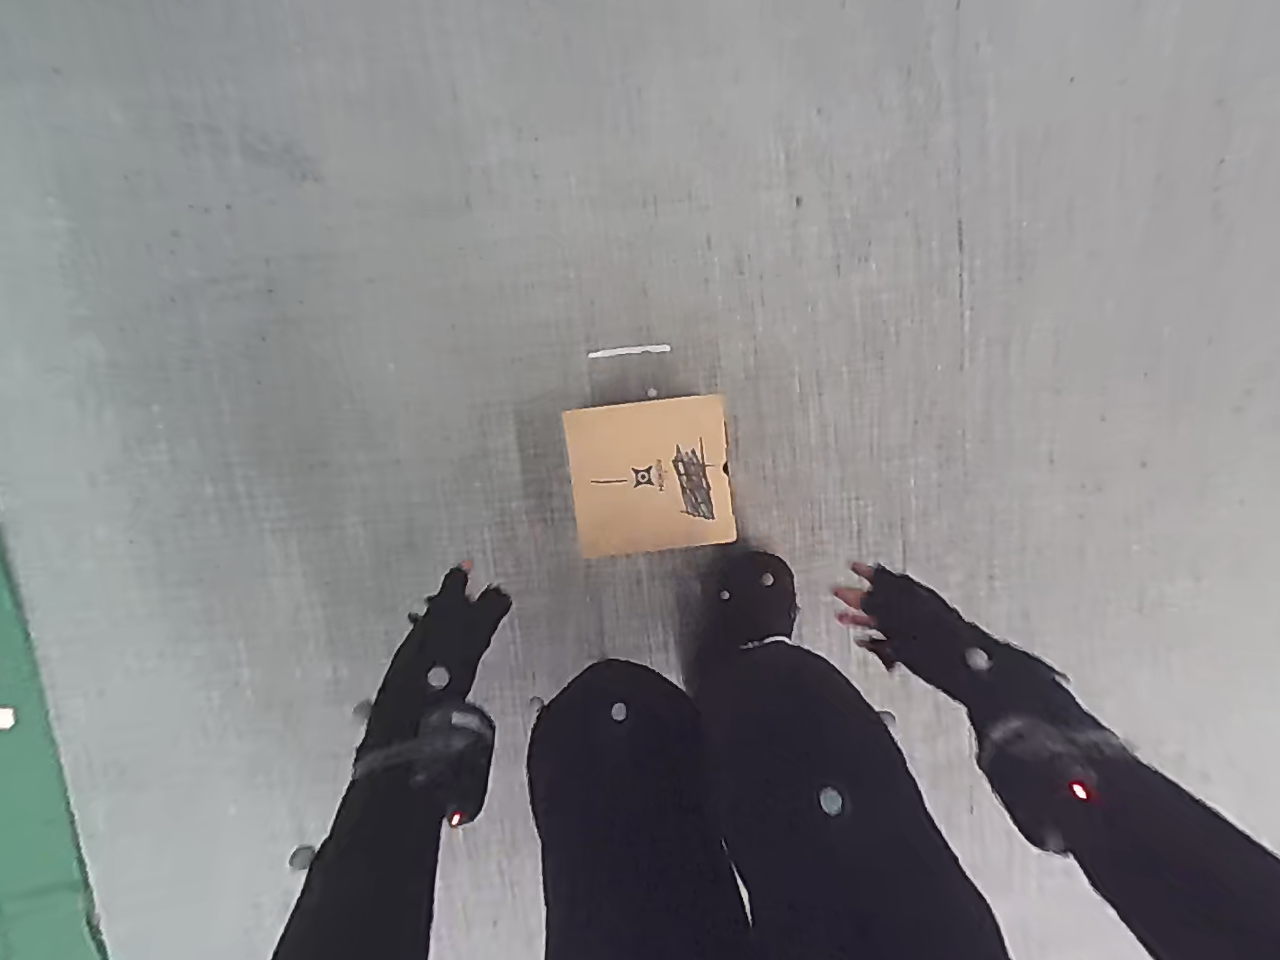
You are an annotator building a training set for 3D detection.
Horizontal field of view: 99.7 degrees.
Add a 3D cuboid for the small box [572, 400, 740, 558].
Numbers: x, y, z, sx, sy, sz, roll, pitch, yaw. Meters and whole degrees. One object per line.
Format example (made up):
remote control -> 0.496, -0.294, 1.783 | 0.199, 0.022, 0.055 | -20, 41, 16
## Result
small box -> 0.019, -0.011, 0.673 | 0.179, 0.176, 0.168 | -6, 97, 2
